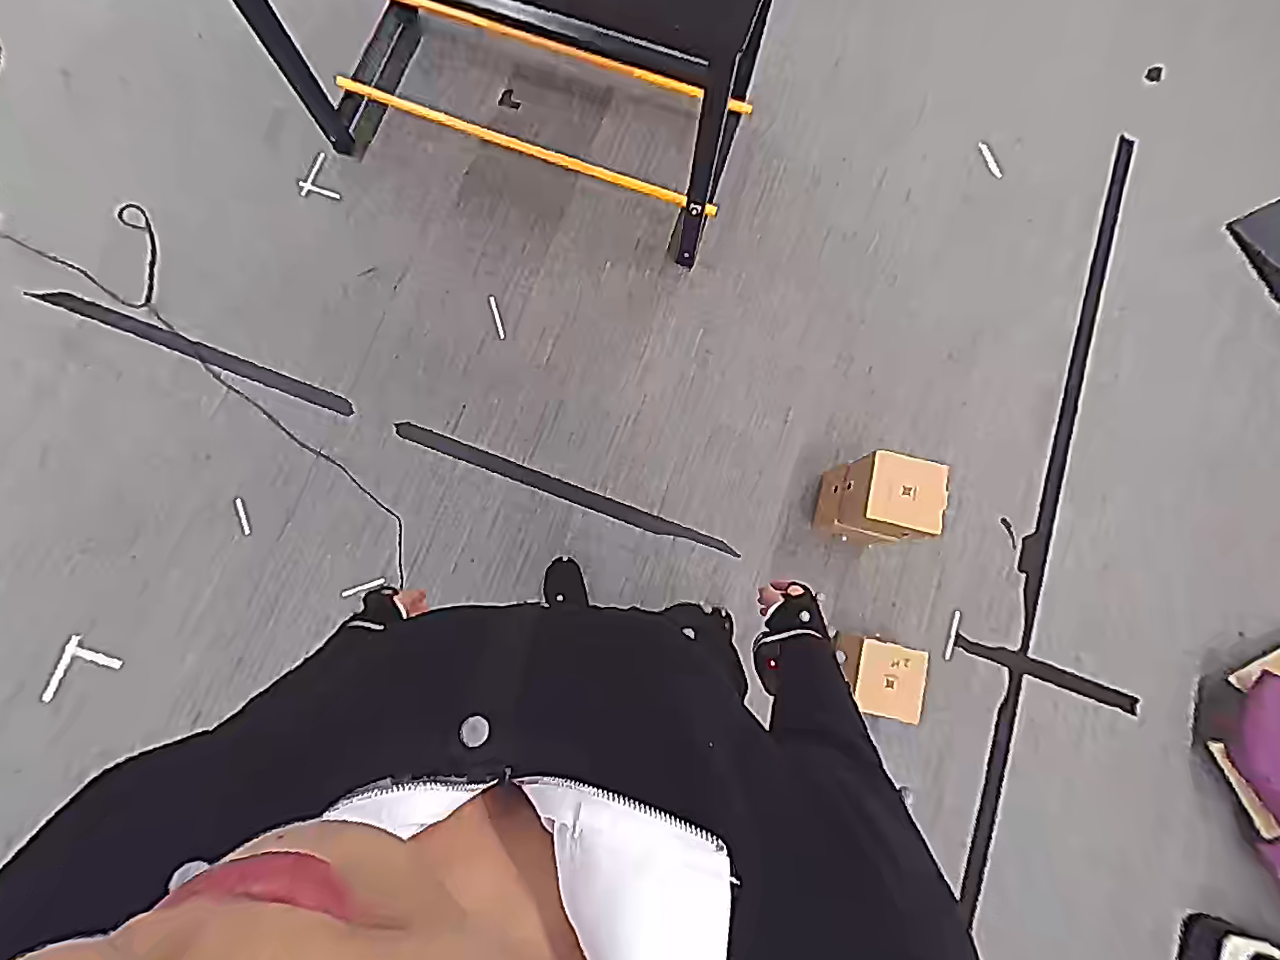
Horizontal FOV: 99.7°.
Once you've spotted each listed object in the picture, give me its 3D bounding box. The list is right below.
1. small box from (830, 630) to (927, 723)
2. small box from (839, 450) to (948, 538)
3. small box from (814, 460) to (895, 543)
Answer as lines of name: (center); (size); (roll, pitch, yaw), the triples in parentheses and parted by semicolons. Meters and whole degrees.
small box: (0.609, 0.501, 1.402); (0.168, 0.176, 0.179); (14, 80, 1)
small box: (0.609, 0.041, 1.313); (0.179, 0.176, 0.168); (13, 79, 2)
small box: (0.594, 0.064, 1.473); (0.168, 0.176, 0.179); (17, 81, 2)
